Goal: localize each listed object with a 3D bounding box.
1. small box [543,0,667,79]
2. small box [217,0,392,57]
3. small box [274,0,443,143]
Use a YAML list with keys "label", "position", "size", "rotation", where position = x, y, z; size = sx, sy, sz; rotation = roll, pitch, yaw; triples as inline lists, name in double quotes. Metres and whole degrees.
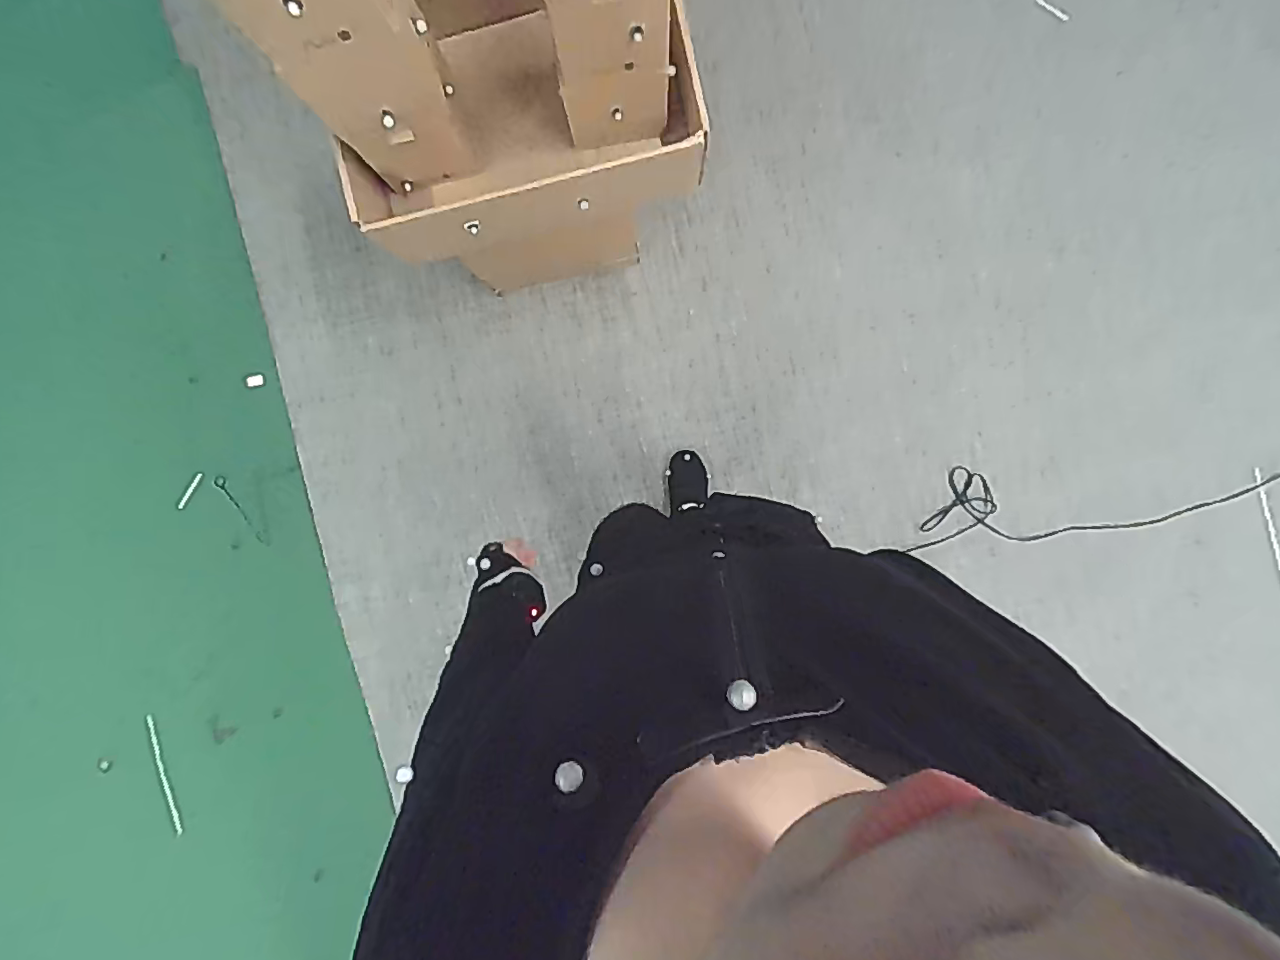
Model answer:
- label: "small box"
  position: [-0.050, -0.711, 0.768]
  size: [0.168, 0.176, 0.179]
  rotation: [-7, 90, 2]
- label: "small box"
  position: [-0.415, -0.637, 0.624]
  size: [0.168, 0.176, 0.179]
  rotation: [-13, 90, 3]
- label: "small box"
  position: [-0.409, -0.637, 0.789]
  size: [0.179, 0.176, 0.168]
  rotation: [-14, 90, 3]
